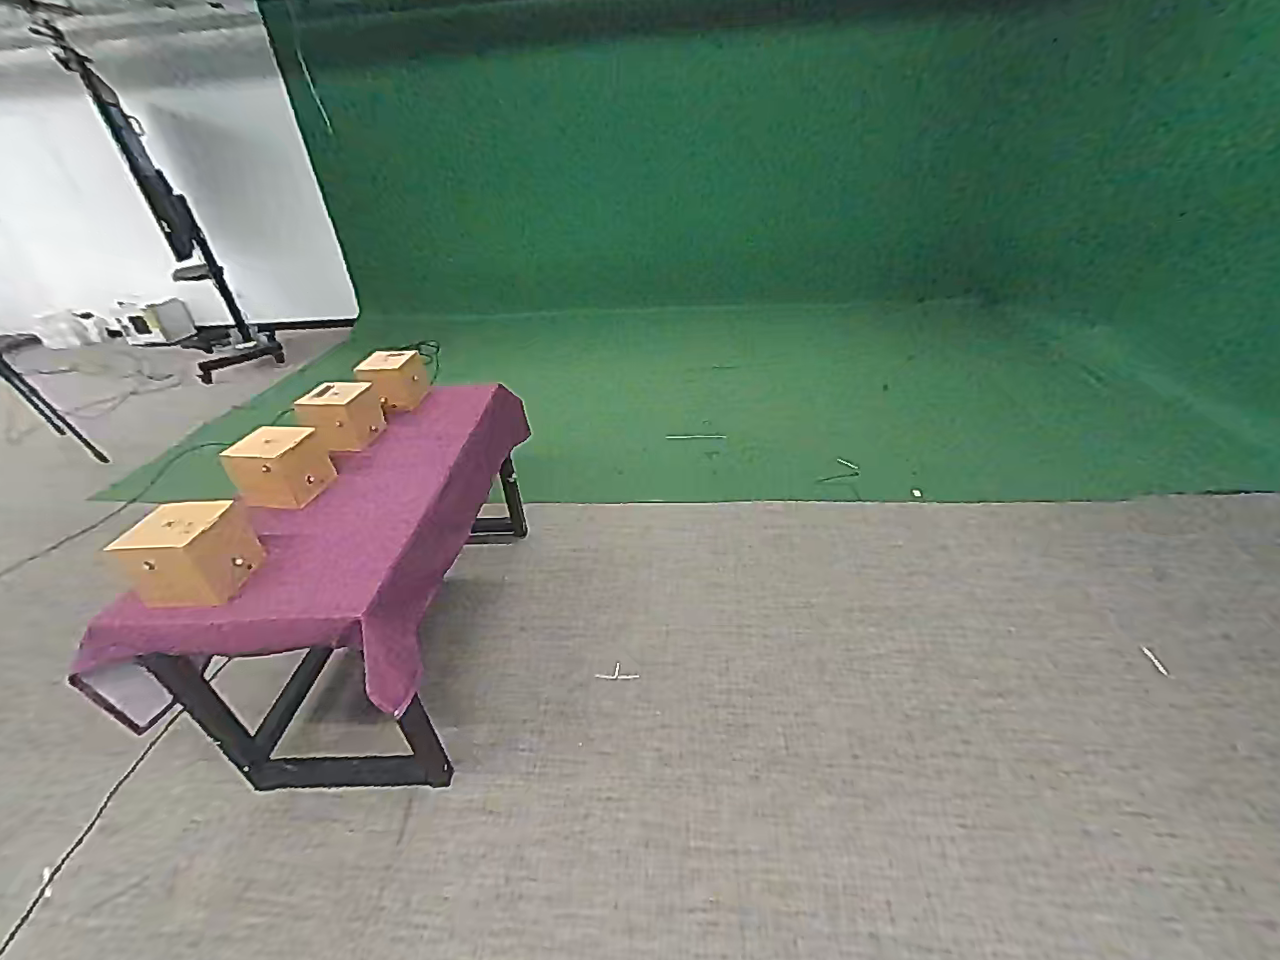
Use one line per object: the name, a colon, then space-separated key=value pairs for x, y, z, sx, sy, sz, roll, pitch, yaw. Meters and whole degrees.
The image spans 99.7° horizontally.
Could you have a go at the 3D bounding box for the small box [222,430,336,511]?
small box: x=-1.003 y=-0.027 z=1.518 sx=0.179 sy=0.176 sz=0.168 roll=3 pitch=34 yaw=9

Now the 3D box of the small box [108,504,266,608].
small box: x=-0.996 y=0.170 z=1.208 sx=0.179 sy=0.176 sz=0.168 roll=-2 pitch=33 yaw=3

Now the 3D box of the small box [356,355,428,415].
small box: x=-0.908 y=-0.353 z=2.001 sx=0.168 sy=0.176 sz=0.179 roll=-1 pitch=35 yaw=6
